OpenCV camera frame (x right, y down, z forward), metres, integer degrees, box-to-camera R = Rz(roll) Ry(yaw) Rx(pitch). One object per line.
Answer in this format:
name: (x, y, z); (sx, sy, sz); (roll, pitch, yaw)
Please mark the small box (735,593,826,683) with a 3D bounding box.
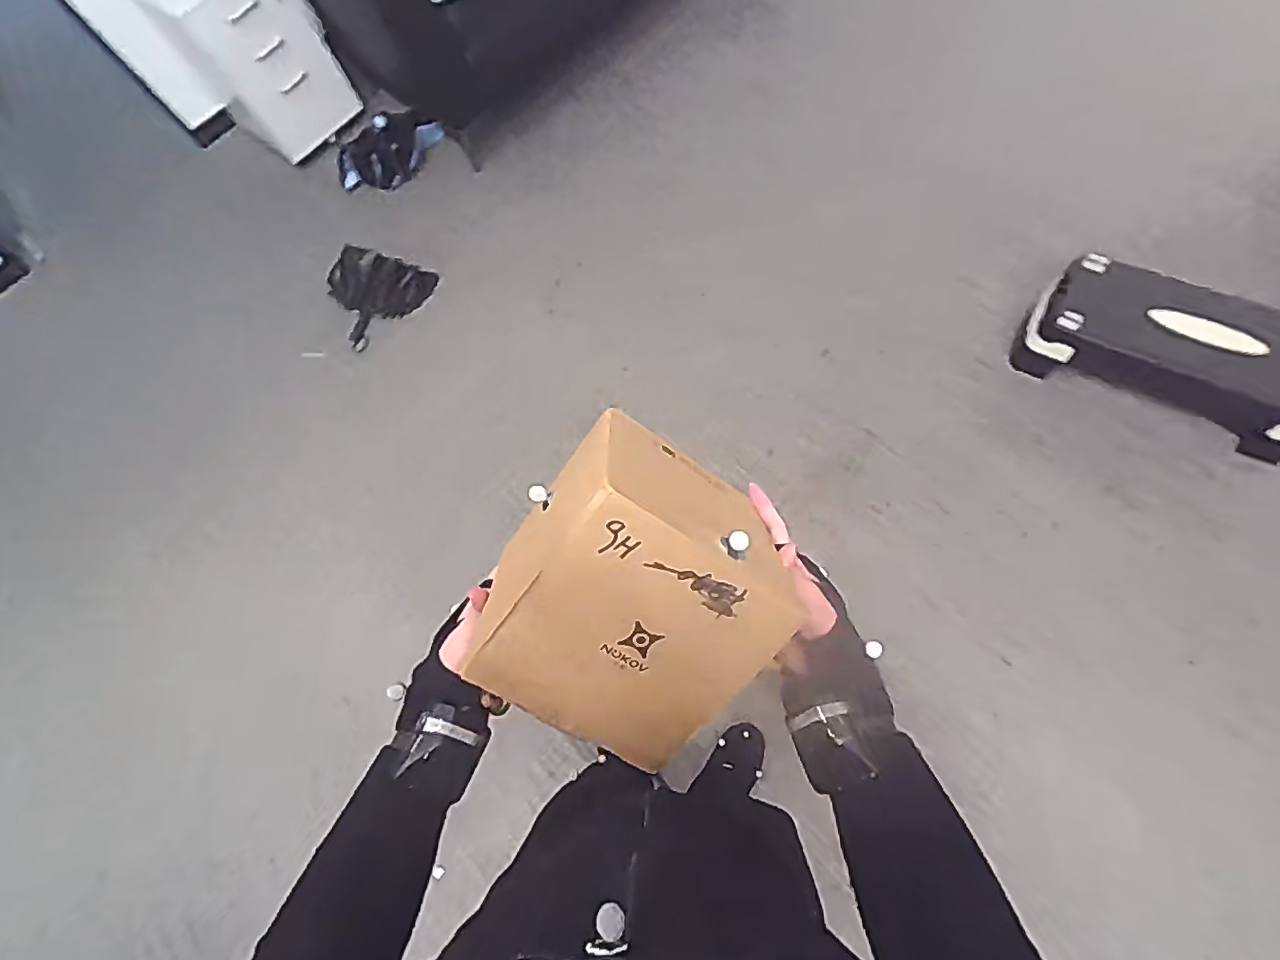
small box: (0.301, 0.347, 1.179); (0.179, 0.176, 0.168); (2, 69, 11)
